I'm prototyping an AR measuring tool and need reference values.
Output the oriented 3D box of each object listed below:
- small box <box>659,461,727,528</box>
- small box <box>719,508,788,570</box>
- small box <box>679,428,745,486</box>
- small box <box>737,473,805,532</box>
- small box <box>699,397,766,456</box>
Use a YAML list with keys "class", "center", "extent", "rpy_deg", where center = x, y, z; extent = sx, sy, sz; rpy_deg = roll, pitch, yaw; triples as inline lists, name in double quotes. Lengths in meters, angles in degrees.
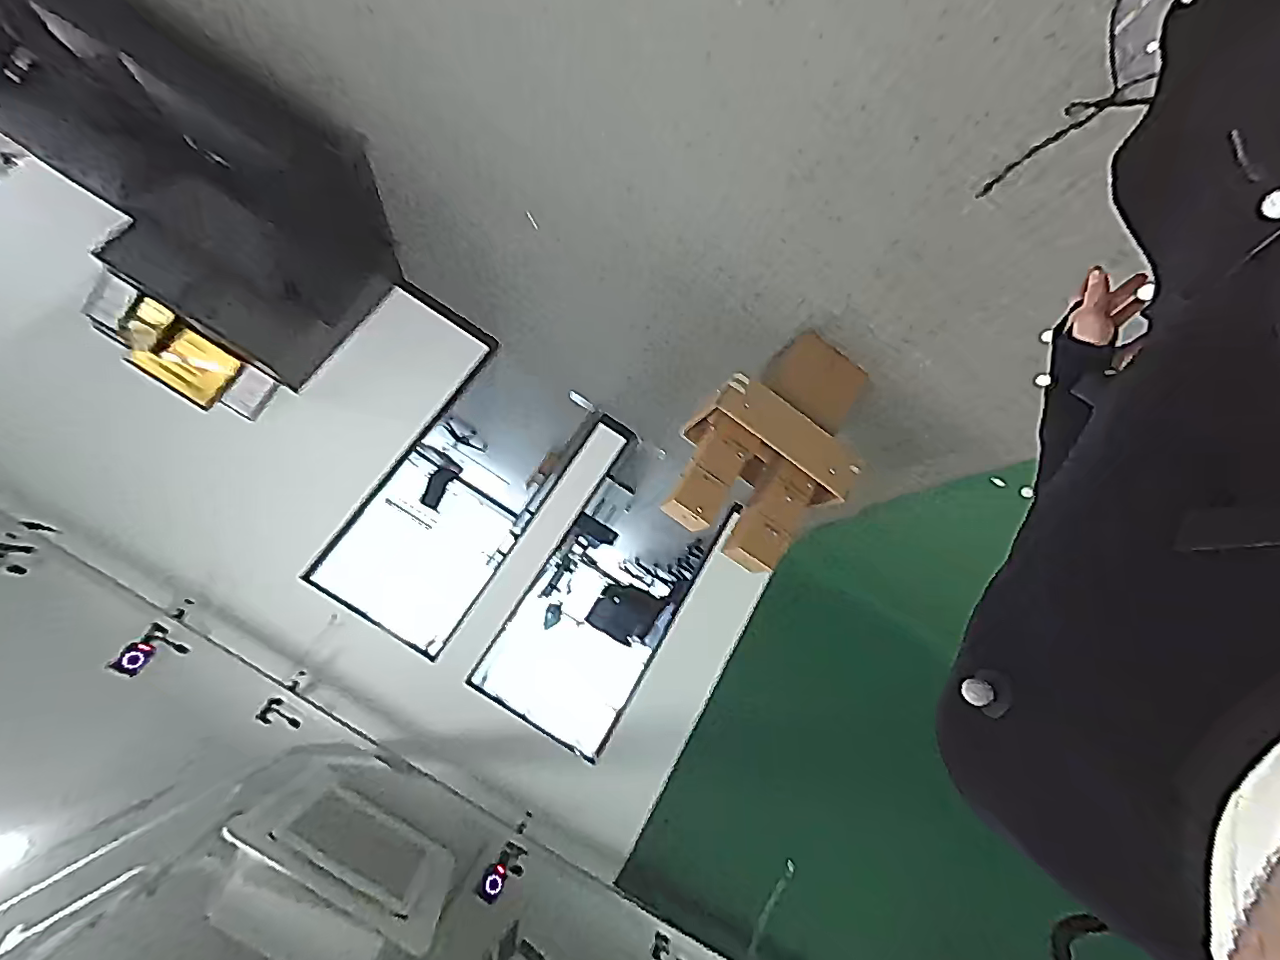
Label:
- class: "small box"
  center: [0.199, 0.055, 2.021]
  extent: [0.168, 0.176, 0.179]
  rpy_deg: [34, 161, -5]
- class: "small box"
  center: [0.435, 0.226, 2.067]
  extent: [0.168, 0.176, 0.179]
  rpy_deg: [34, 162, -6]
- class: "small box"
  center: [0.281, -0.074, 2.079]
  extent: [0.168, 0.176, 0.179]
  rpy_deg: [35, 161, -5]
- class: "small box"
  center: [0.518, 0.096, 2.121]
  extent: [0.168, 0.176, 0.179]
  rpy_deg: [34, 161, -6]
- class: "small box"
  center: [0.369, -0.200, 2.139]
  extent: [0.168, 0.176, 0.179]
  rpy_deg: [36, 160, -9]
